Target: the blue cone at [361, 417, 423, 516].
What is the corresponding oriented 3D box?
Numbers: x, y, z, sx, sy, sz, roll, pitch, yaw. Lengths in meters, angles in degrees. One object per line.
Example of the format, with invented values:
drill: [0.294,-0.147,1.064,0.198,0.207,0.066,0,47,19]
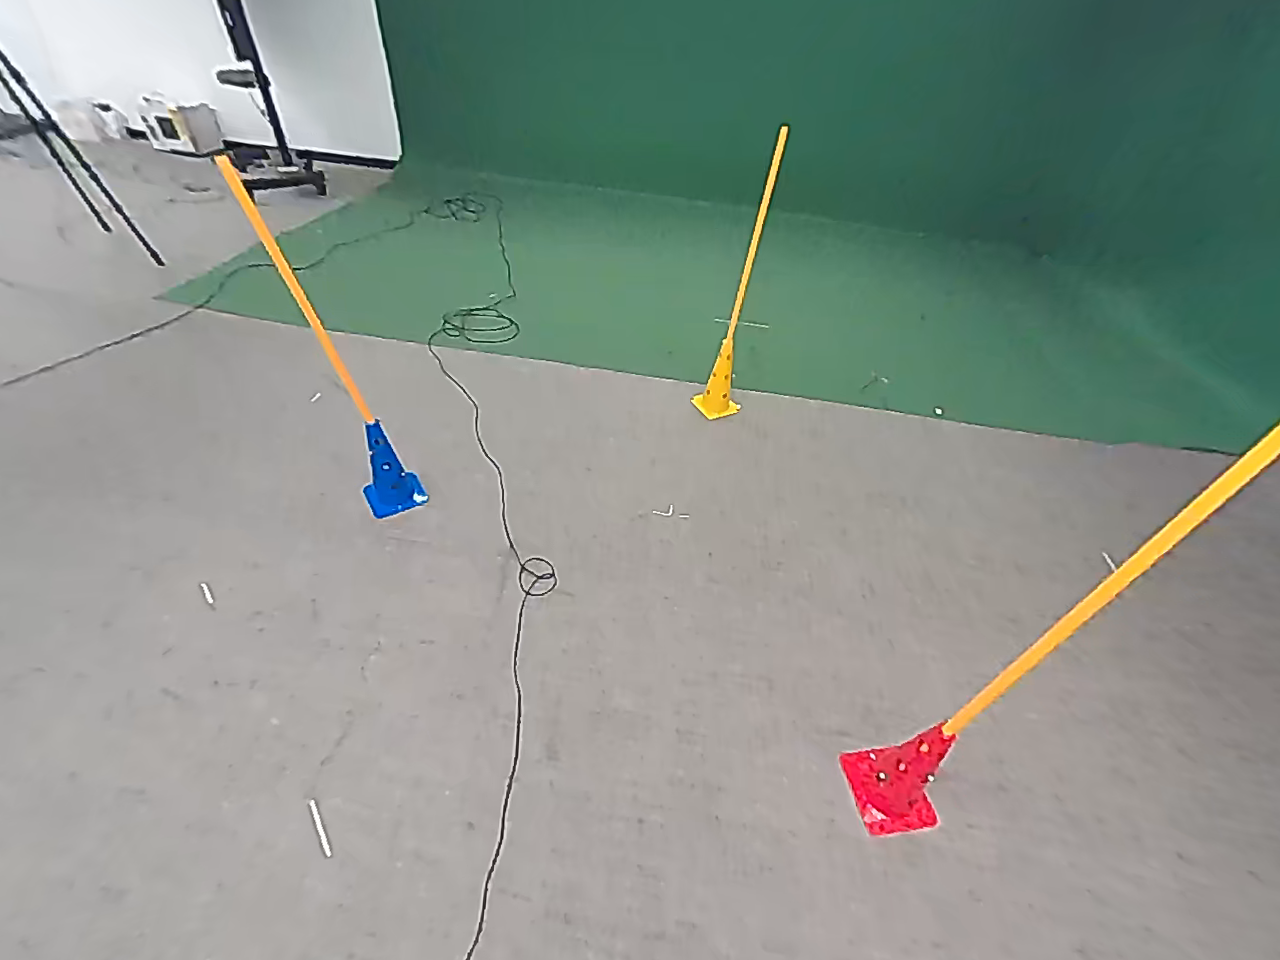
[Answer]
blue cone: [-0.935,-0.064,1.955,0.193,0.380,0.192,-25,51,-27]
